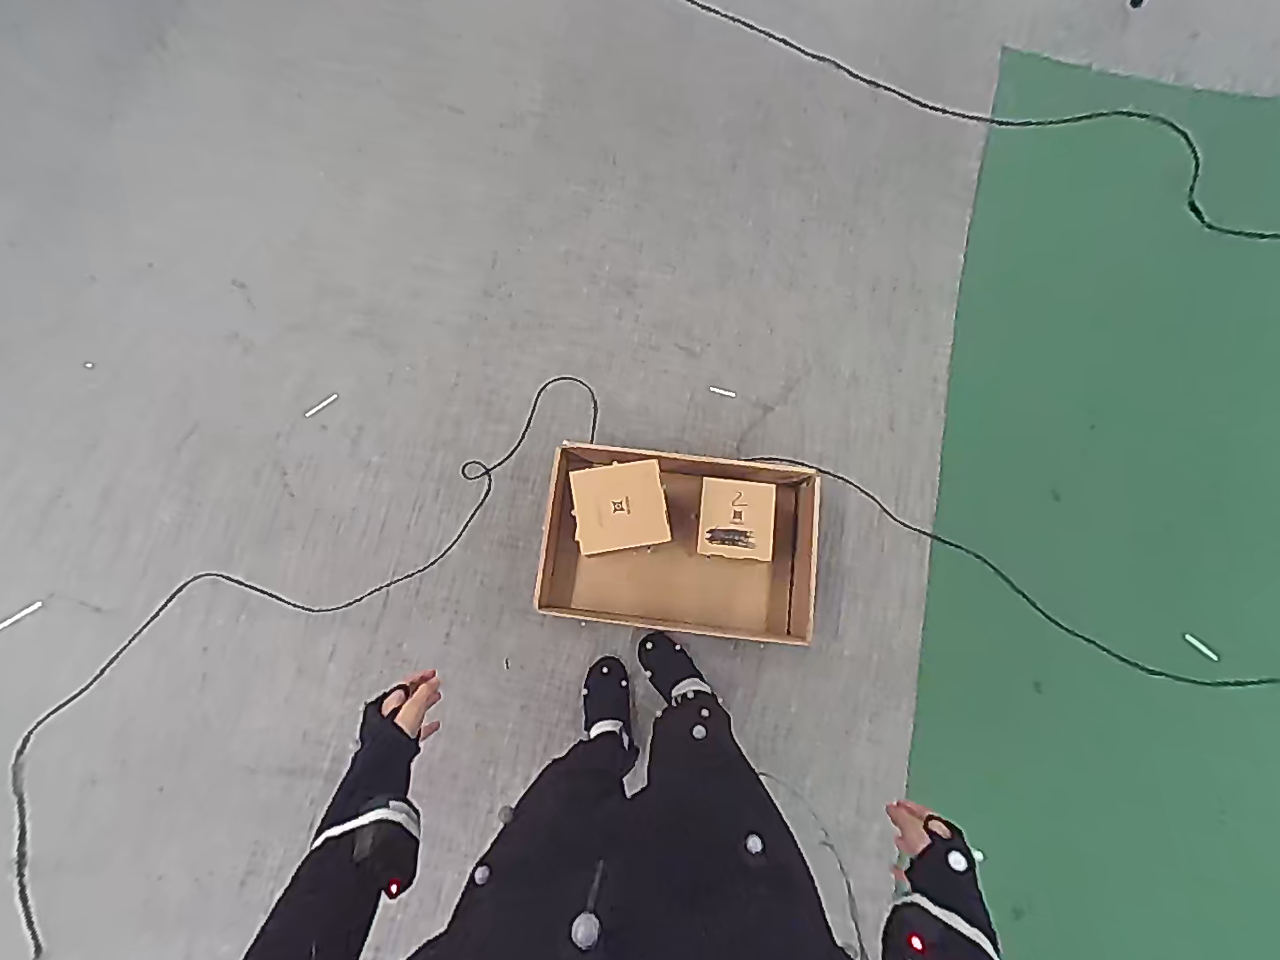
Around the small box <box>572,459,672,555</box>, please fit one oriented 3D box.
[{"bbox_3d":[-0.038,0.061,1.116,0.179,0.176,0.168,-9,80,-2],"label":"small box"}]
